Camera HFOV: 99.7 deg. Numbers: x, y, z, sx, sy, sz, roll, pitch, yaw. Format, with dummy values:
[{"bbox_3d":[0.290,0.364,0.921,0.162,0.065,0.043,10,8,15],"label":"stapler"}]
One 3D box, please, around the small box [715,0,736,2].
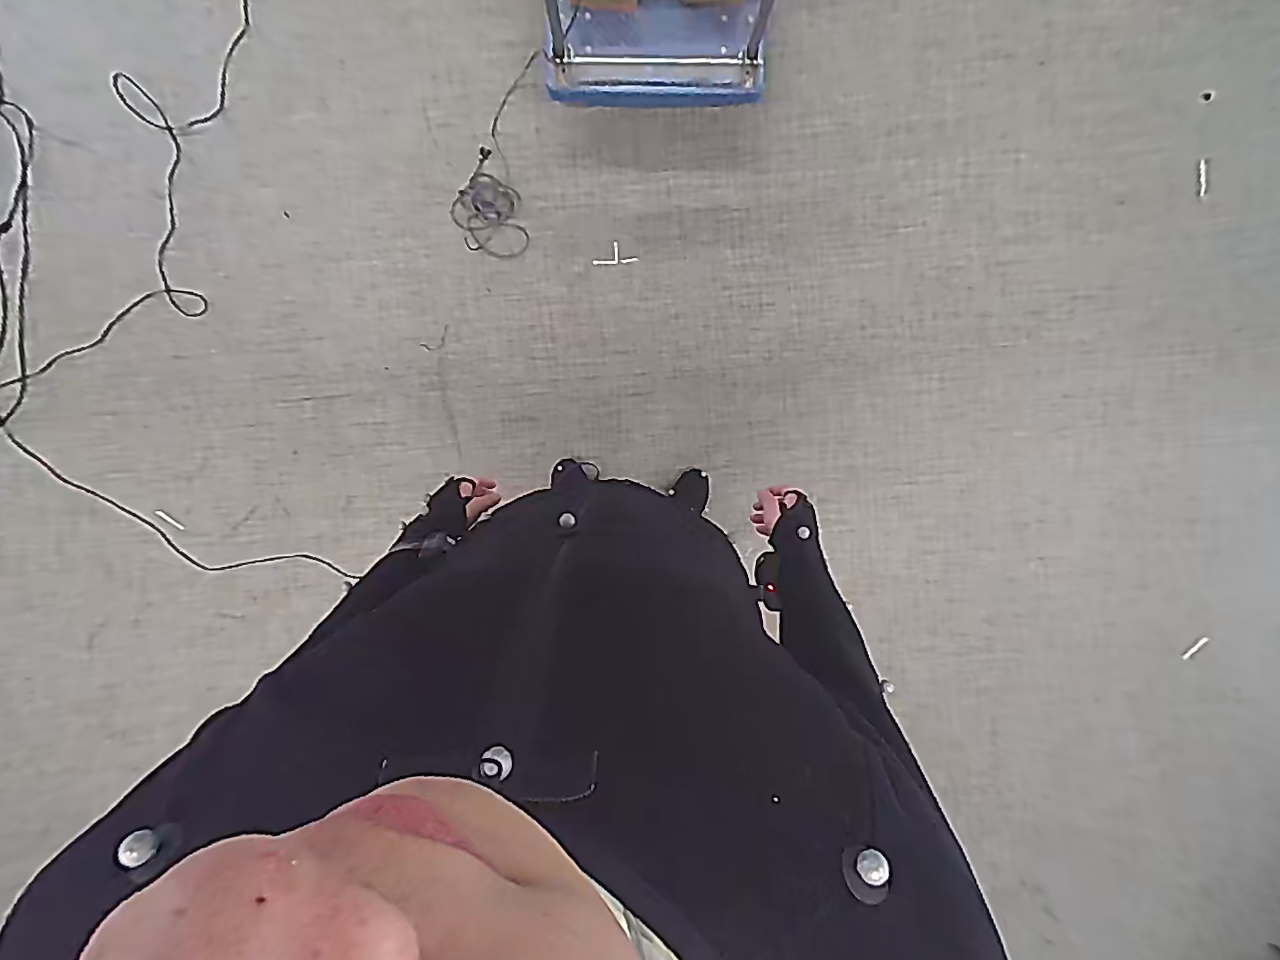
[{"bbox_3d":[0.181,-1.314,1.302,0.168,0.176,0.179,2,94,0],"label":"small box"}]
